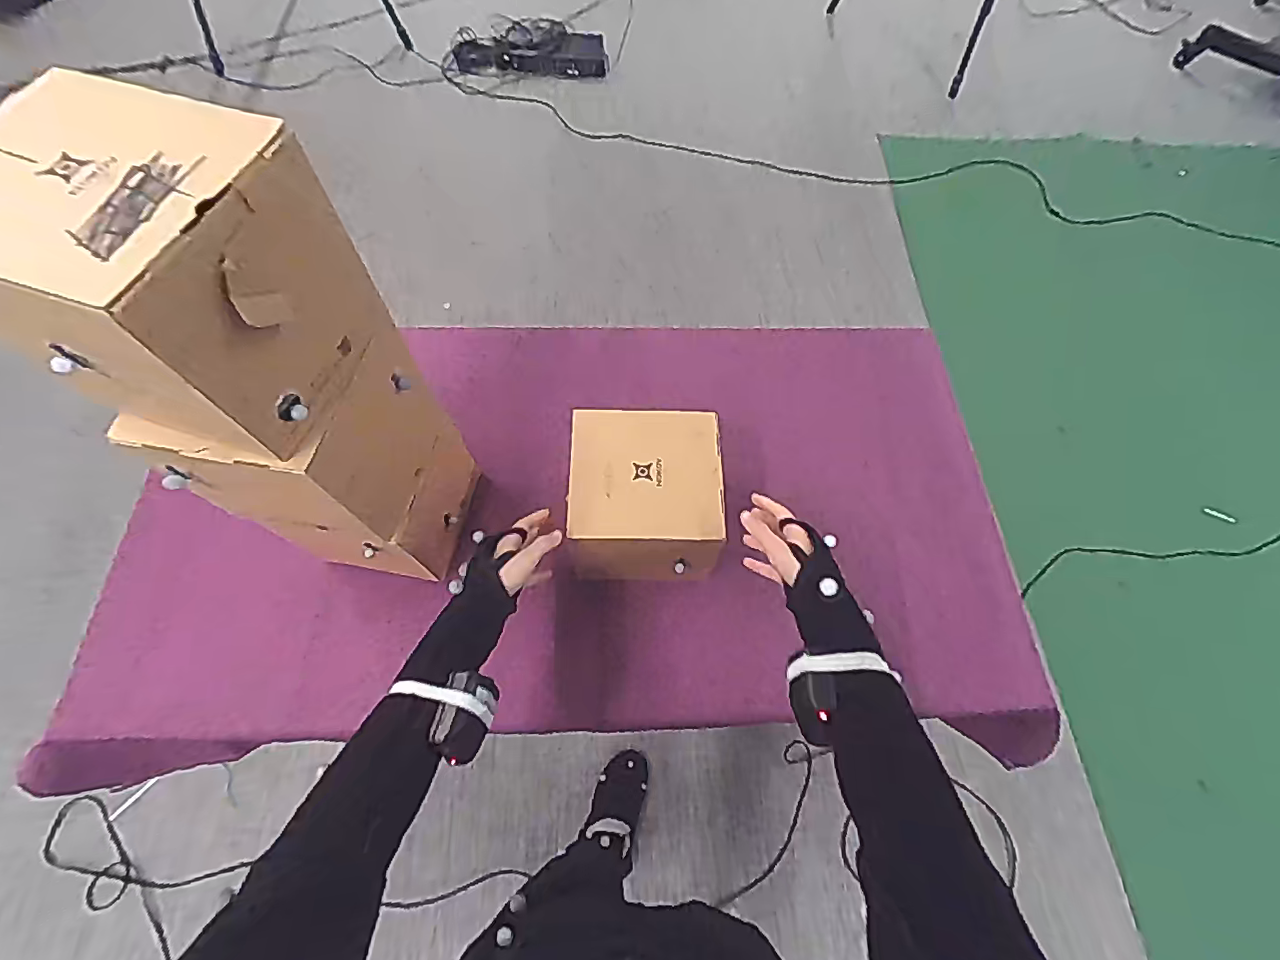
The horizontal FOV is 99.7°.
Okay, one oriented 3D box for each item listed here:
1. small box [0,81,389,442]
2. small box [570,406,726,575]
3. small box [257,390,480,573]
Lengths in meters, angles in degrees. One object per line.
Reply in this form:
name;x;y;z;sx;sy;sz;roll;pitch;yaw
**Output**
small box;-0.326;-0.149;0.406;0.179;0.176;0.168;16;64;6
small box;0.007;0.021;0.703;0.179;0.176;0.168;1;64;-1
small box;-0.327;0.009;0.696;0.179;0.176;0.168;10;64;1
